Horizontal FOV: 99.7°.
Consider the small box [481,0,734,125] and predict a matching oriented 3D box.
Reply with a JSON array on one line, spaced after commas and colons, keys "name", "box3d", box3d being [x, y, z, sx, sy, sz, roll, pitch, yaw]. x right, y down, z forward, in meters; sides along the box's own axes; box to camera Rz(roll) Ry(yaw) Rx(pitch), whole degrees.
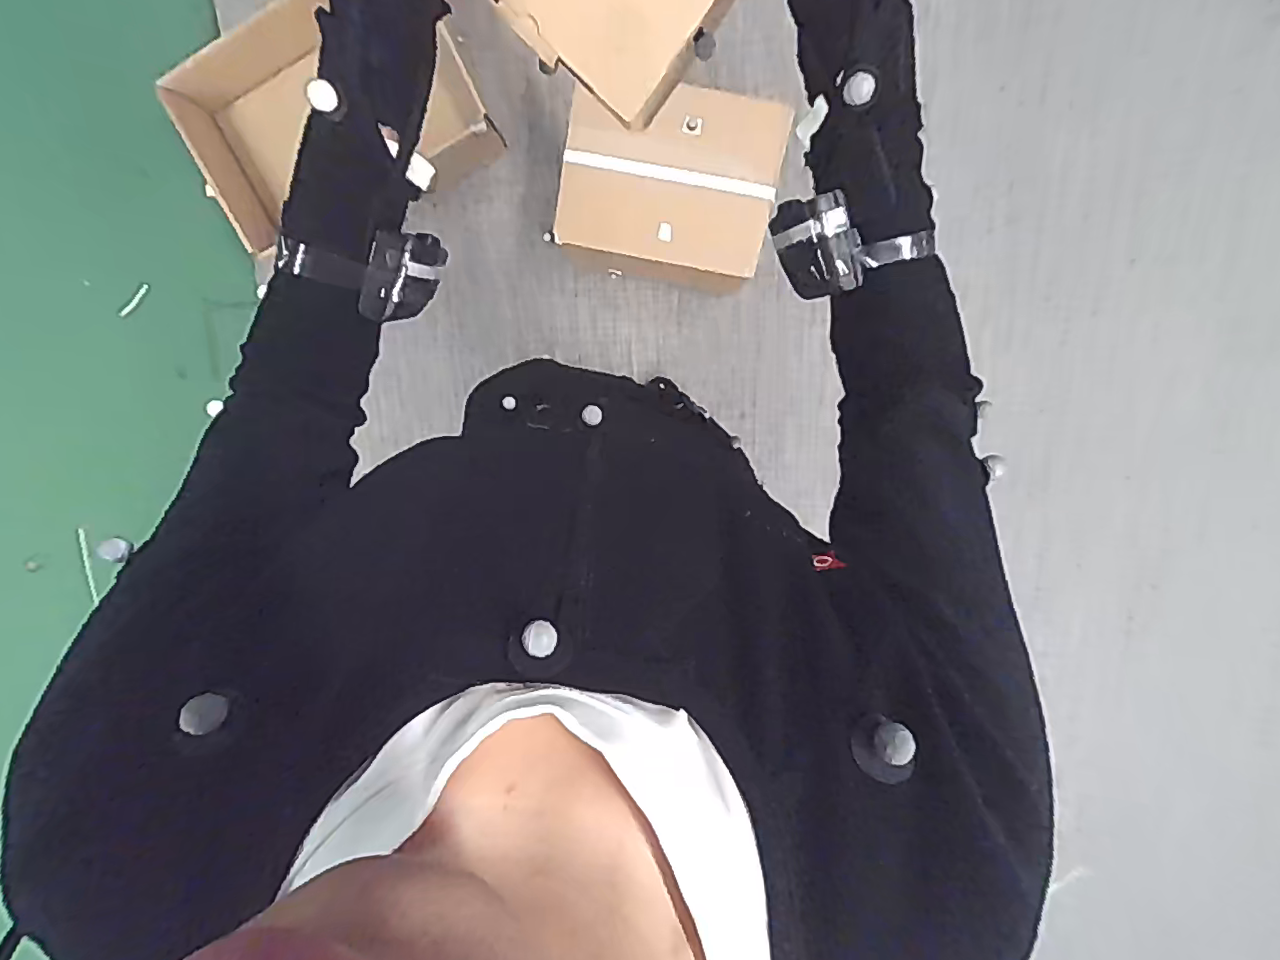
[{"name": "small box", "box3d": [-0.014, -0.375, 0.366, 0.168, 0.176, 0.179, 37, 118, -16]}]
